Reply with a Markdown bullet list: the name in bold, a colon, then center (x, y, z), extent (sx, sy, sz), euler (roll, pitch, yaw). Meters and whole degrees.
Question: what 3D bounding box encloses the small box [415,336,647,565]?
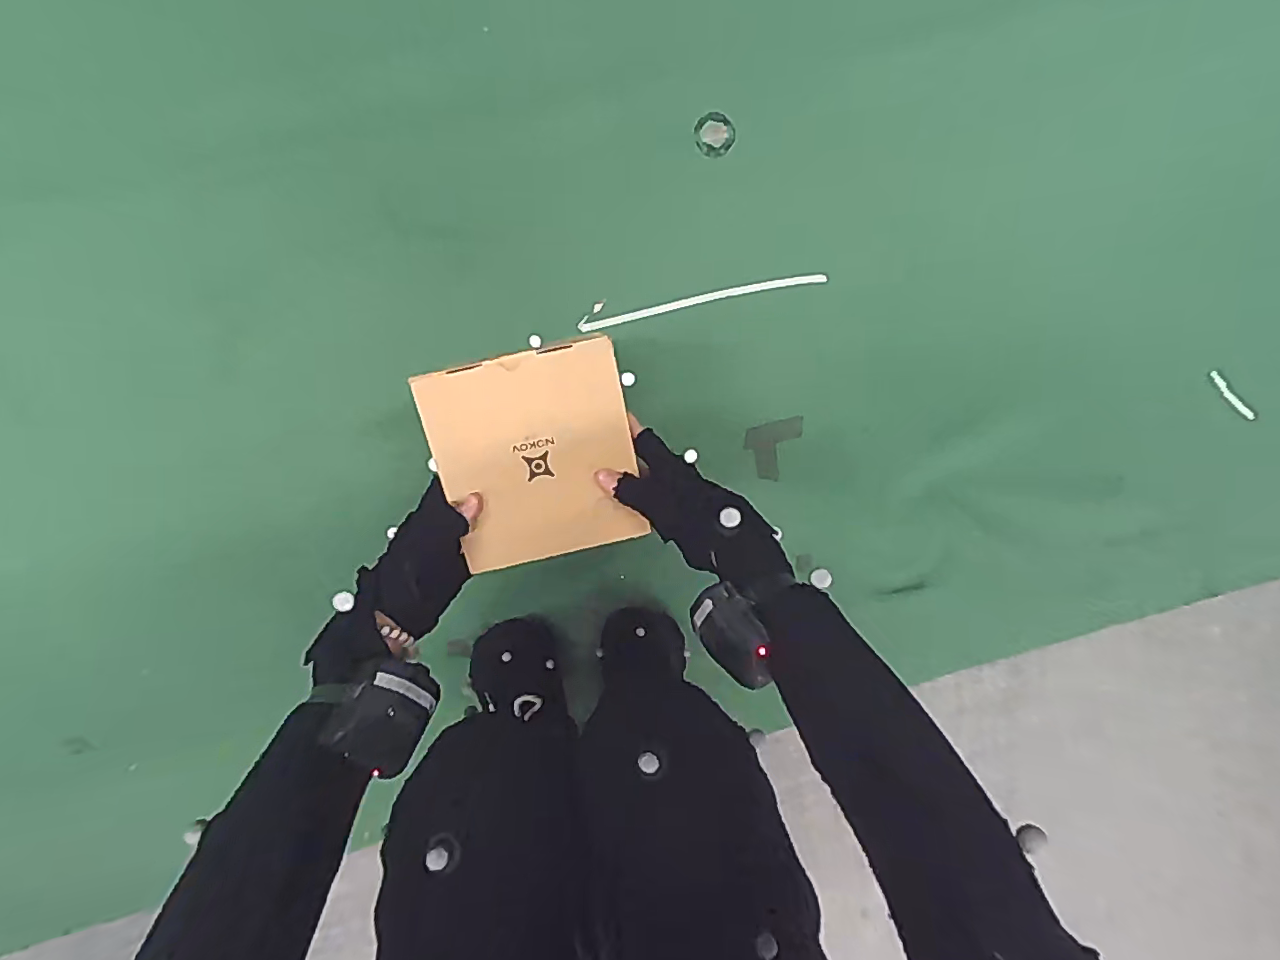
- **small box**: center (-0.093, -0.042, 0.538), extent (0.168, 0.176, 0.179), euler (-13, 105, -2)
